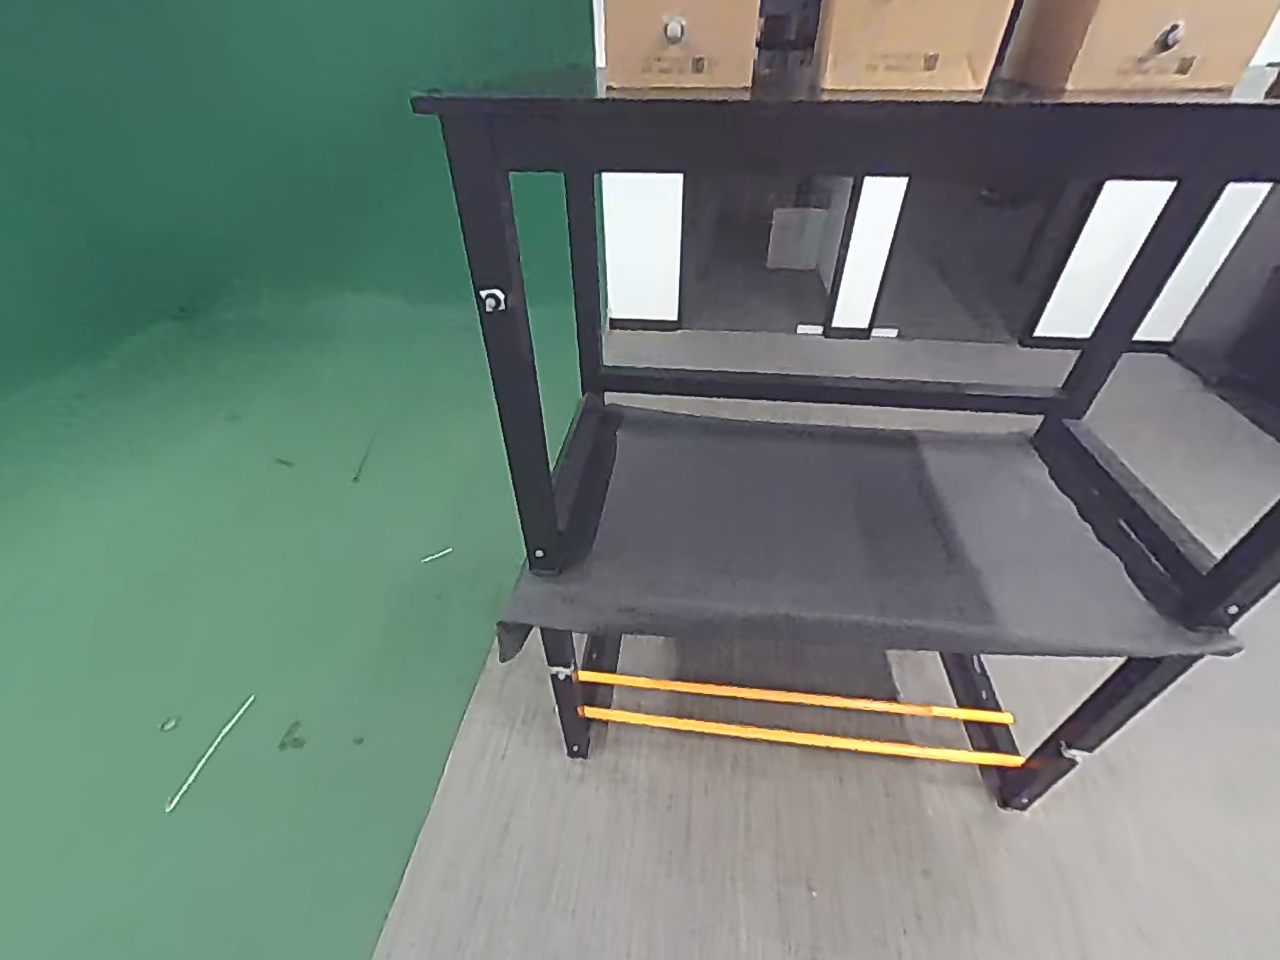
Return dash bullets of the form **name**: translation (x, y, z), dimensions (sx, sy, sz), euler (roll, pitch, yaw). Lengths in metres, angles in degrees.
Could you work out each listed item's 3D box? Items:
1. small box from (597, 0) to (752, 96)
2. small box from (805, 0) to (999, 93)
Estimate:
- **small box**: translation (0.040, -0.556, 0.624), dimensions (0.168, 0.176, 0.179), euler (2, 40, 3)
- **small box**: translation (0.280, -0.524, 0.583), dimensions (0.168, 0.176, 0.179), euler (5, 39, 8)
